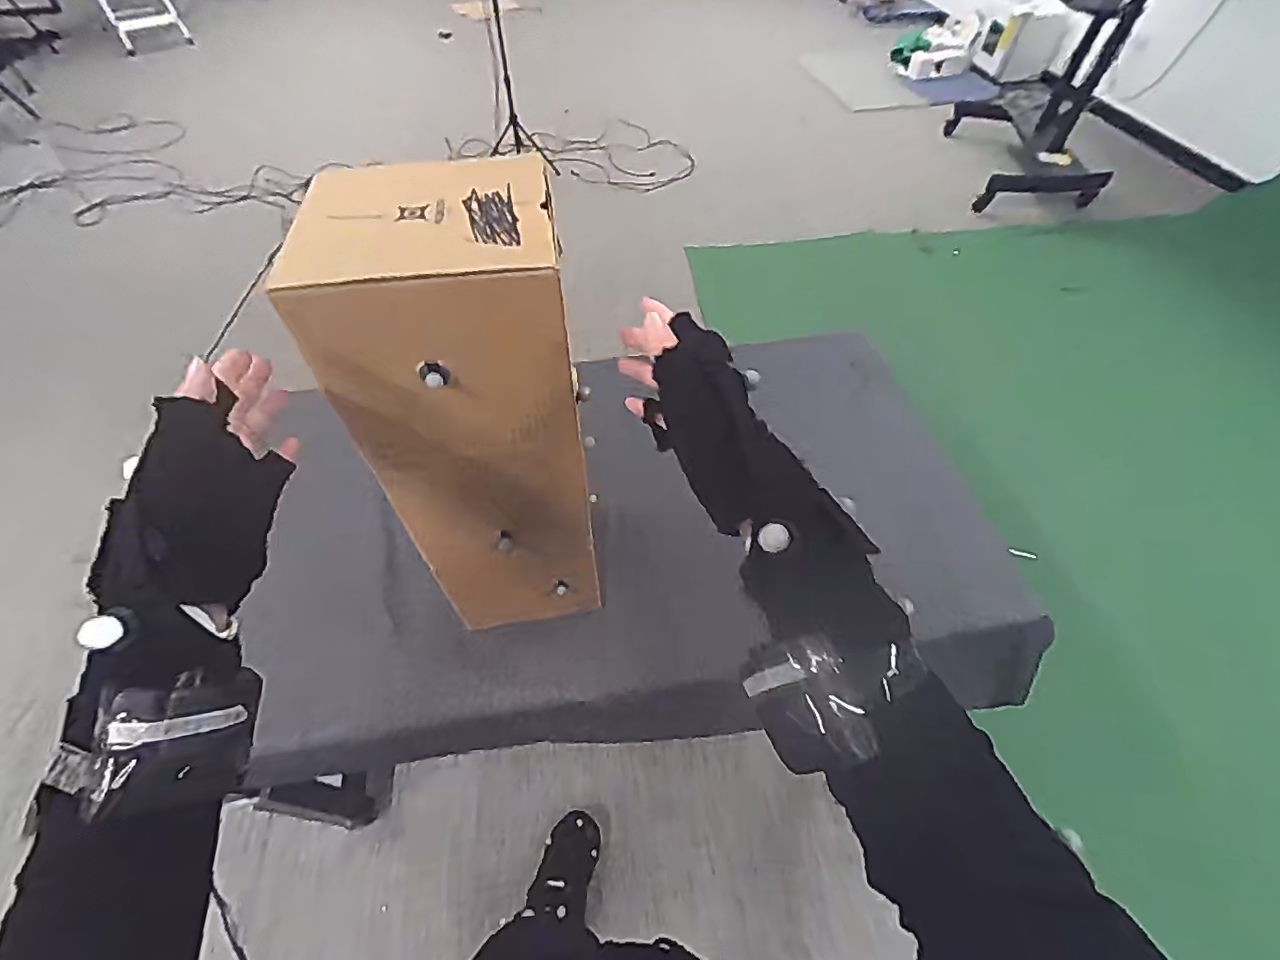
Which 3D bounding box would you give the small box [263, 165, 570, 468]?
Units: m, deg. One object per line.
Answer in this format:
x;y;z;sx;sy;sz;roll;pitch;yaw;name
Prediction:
-0.152;-0.128;0.440;0.179;0.176;0.168;-7;52;-5;small box

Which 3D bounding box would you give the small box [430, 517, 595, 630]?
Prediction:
-0.154;0.075;0.698;0.179;0.176;0.168;-9;52;-6;small box

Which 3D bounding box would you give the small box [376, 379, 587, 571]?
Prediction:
-0.153;-0.024;0.571;0.179;0.176;0.168;-10;54;-8;small box
